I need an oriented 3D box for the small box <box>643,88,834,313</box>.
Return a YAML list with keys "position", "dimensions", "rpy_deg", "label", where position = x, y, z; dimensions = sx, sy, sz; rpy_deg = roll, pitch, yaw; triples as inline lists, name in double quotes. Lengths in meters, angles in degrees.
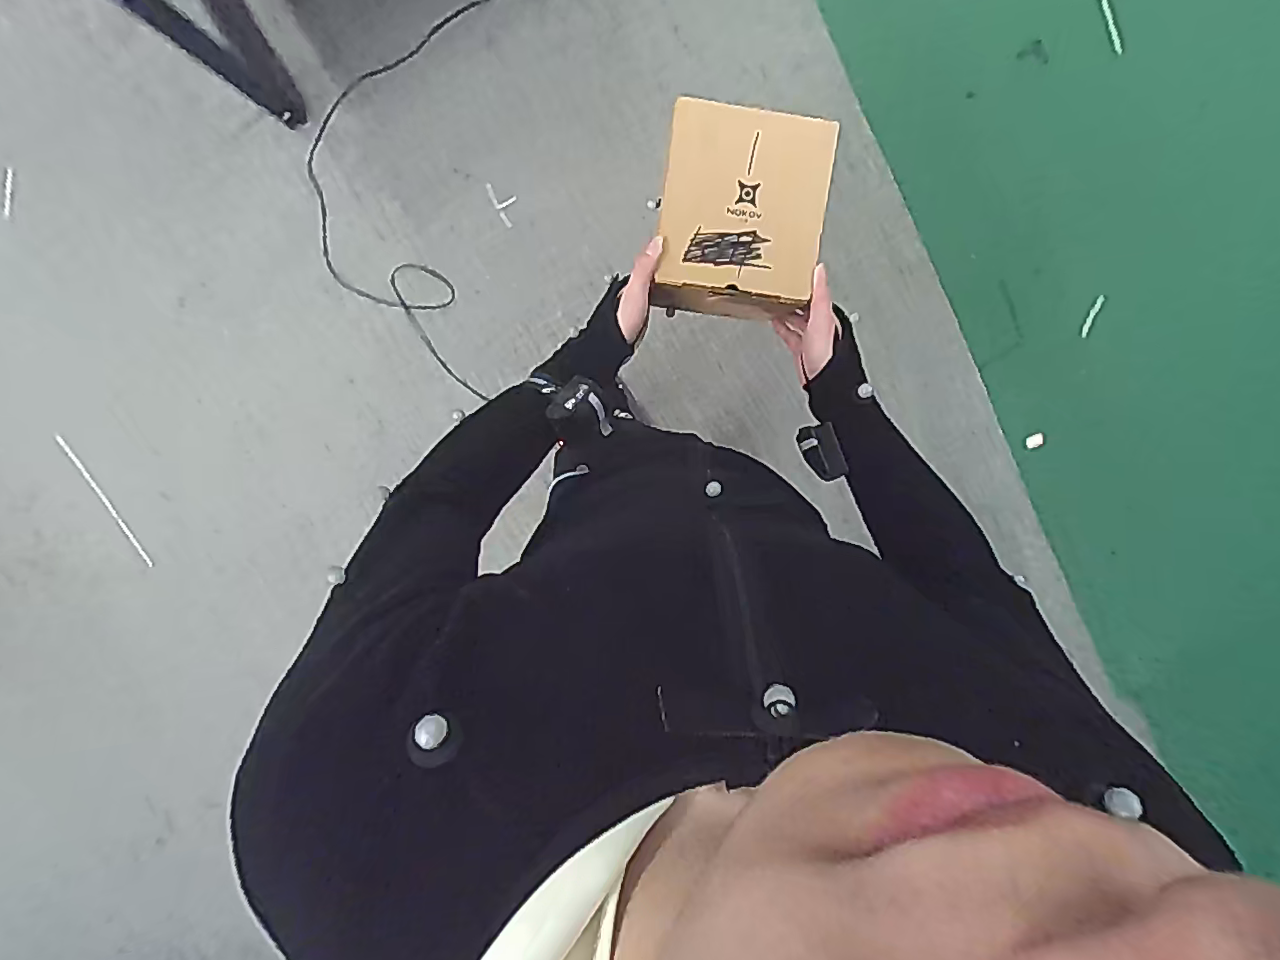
- position: [0.095, -0.293, 0.611]
  dimensions: [0.168, 0.176, 0.179]
  rpy_deg: [6, 99, -4]
  label: "small box"
